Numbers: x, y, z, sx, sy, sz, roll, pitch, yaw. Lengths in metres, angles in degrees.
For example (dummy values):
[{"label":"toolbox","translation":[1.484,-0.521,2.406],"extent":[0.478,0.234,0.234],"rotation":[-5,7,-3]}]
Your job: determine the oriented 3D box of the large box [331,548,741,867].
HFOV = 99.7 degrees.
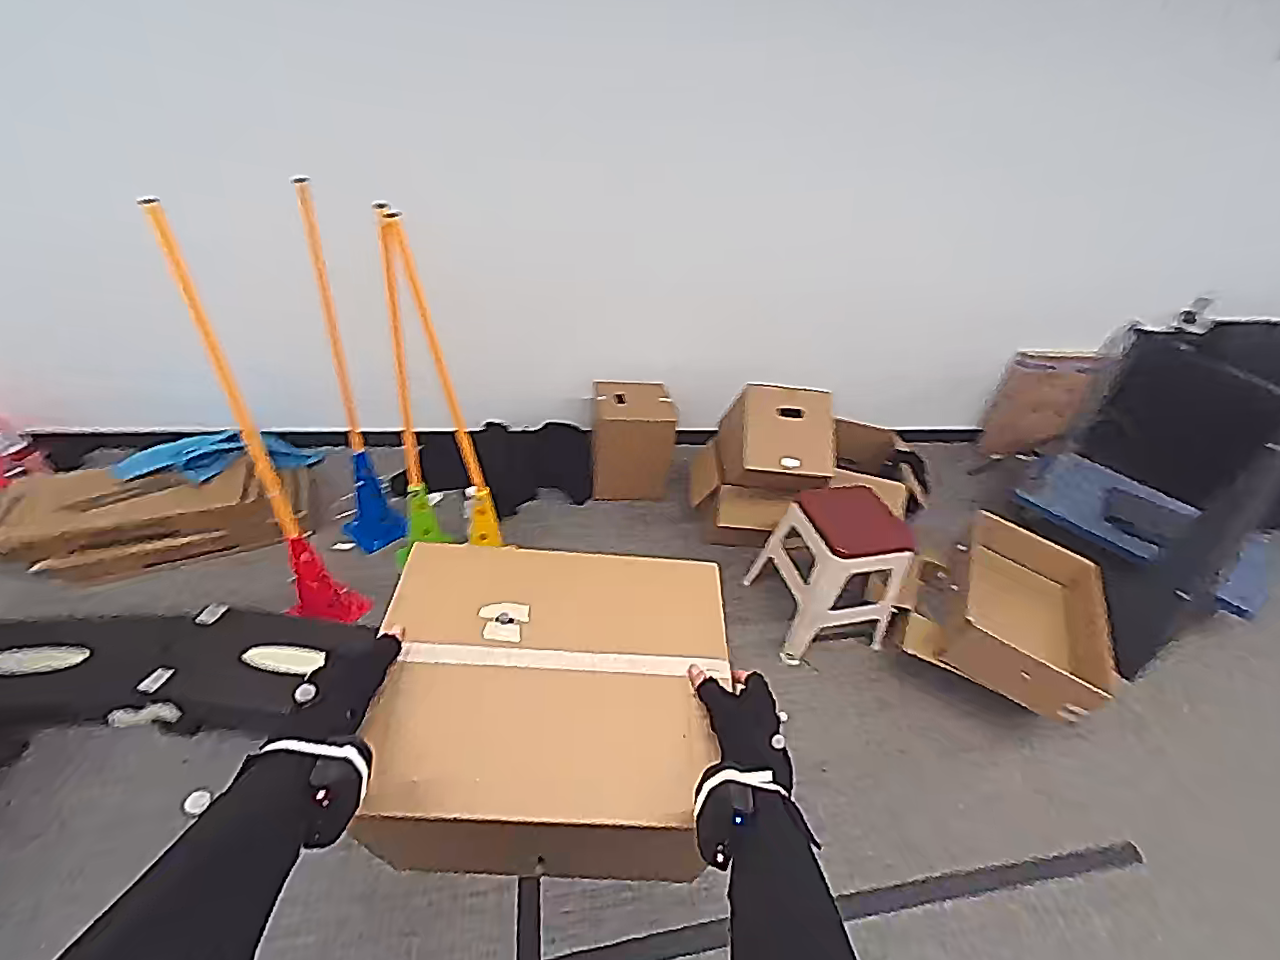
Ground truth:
[{"label":"large box","translation":[-0.107,0.315,0.733],"extent":[0.408,0.320,0.320],"rotation":[5,45,-3]}]
